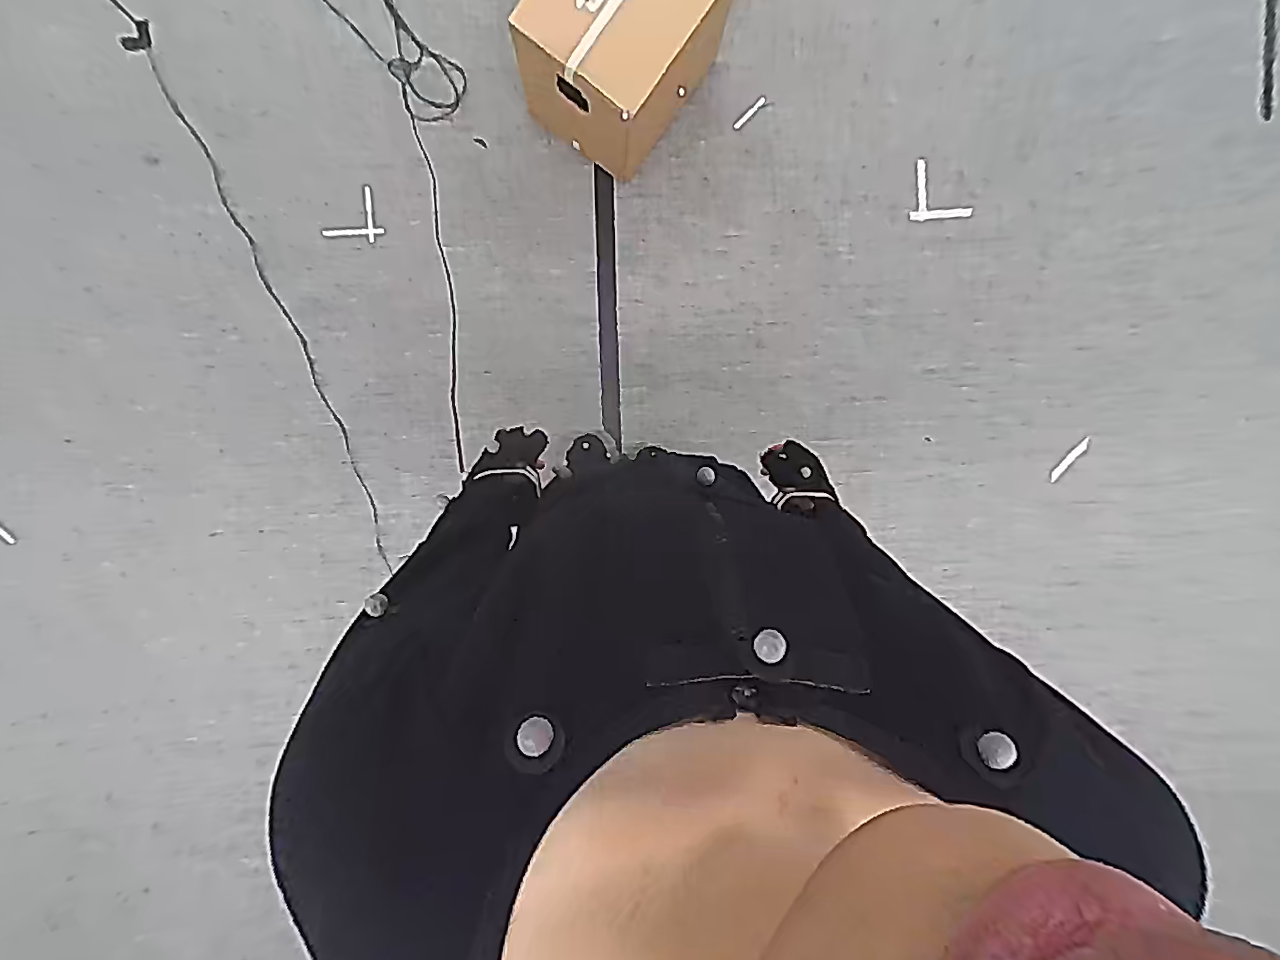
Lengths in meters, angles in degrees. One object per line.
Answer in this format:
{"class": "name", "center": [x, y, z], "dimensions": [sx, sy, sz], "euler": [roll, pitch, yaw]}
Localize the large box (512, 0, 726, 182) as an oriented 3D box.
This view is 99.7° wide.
{"class": "large box", "center": [-0.038, -1.013, 1.257], "dimensions": [0.320, 0.320, 0.408], "euler": [35, 93, -5]}
